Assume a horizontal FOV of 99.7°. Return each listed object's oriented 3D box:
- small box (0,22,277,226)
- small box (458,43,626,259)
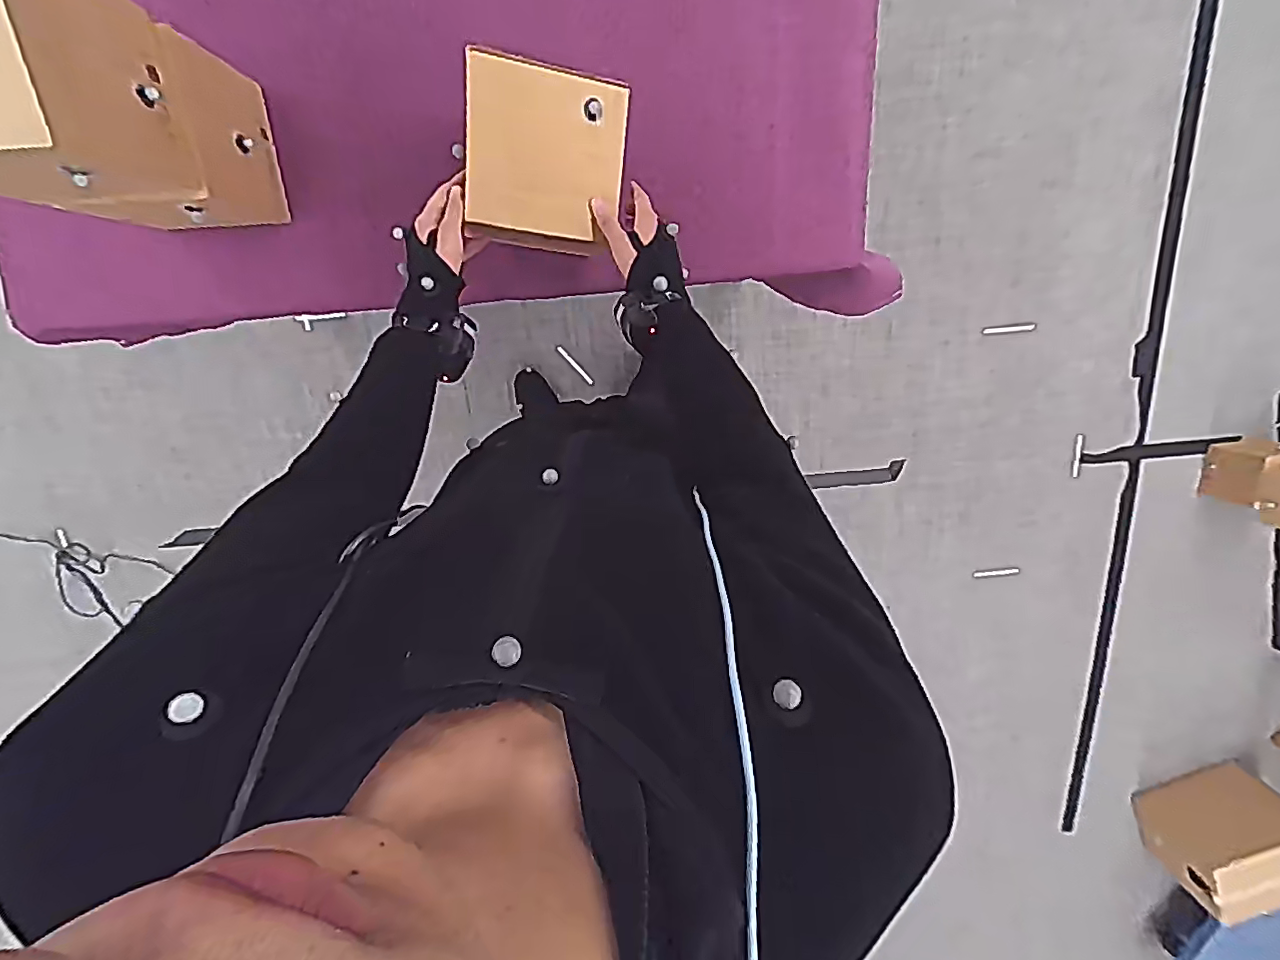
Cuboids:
[{"bbox_3d":[-0.572,-0.407,0.645,0.179,0.176,0.168,-4,107,-2],"label":"small box"},{"bbox_3d":[-0.128,-0.379,0.661,0.179,0.168,0.176,3,107,-18],"label":"small box"}]
